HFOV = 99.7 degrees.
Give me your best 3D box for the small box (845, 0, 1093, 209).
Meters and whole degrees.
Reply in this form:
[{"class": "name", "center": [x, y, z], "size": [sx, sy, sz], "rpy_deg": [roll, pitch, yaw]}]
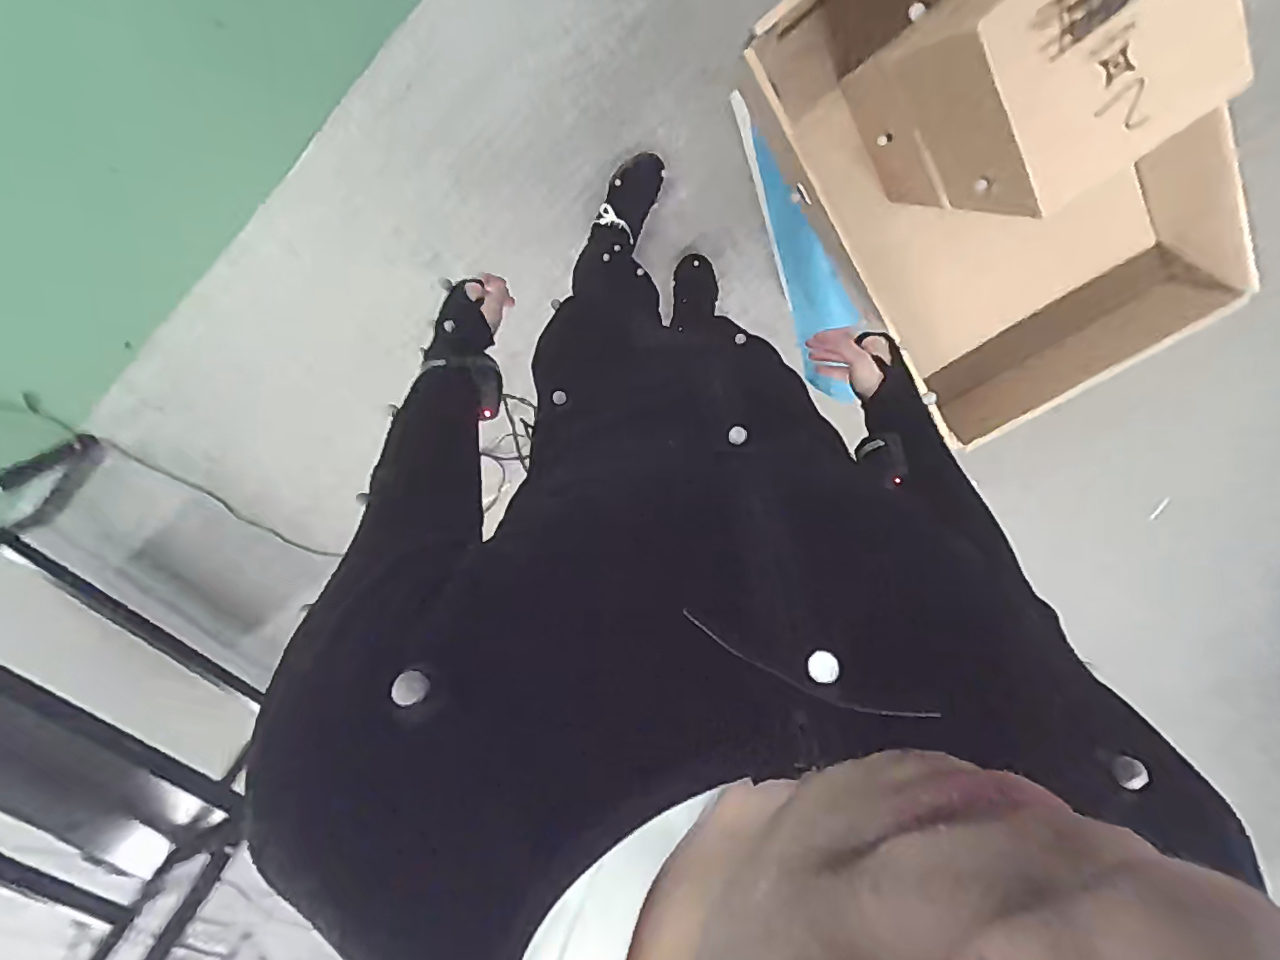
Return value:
[{"class": "small box", "center": [0.371, -0.454, 0.634], "size": [0.168, 0.176, 0.179], "rpy_deg": [-32, 115, 17]}]
